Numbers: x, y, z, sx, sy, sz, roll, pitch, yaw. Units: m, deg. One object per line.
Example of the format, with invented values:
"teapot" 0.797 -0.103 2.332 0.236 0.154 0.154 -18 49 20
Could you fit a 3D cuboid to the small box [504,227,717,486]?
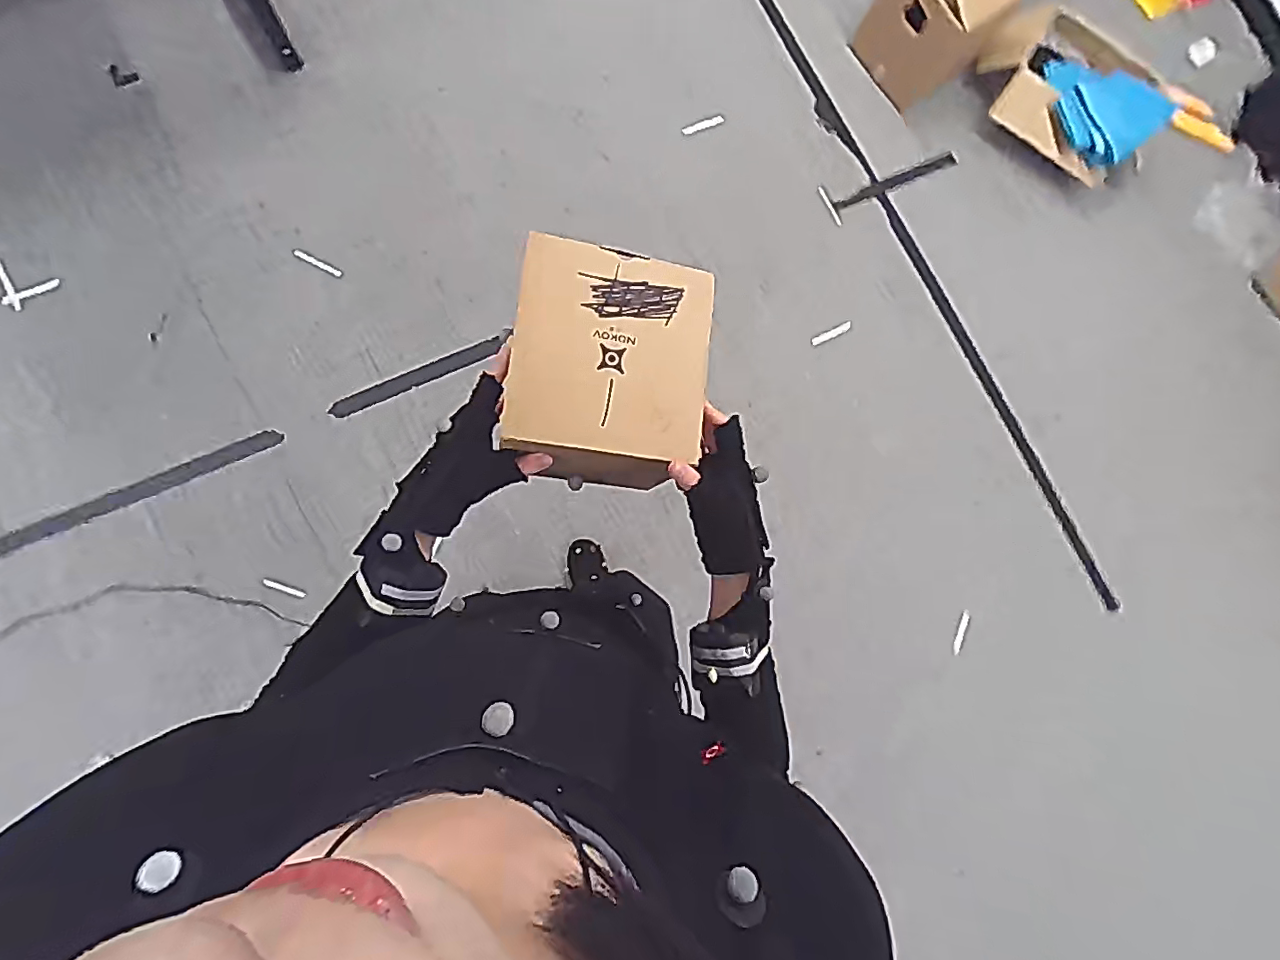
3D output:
"small box" -0.037 -0.099 0.517 0.168 0.176 0.179 7 80 -13
